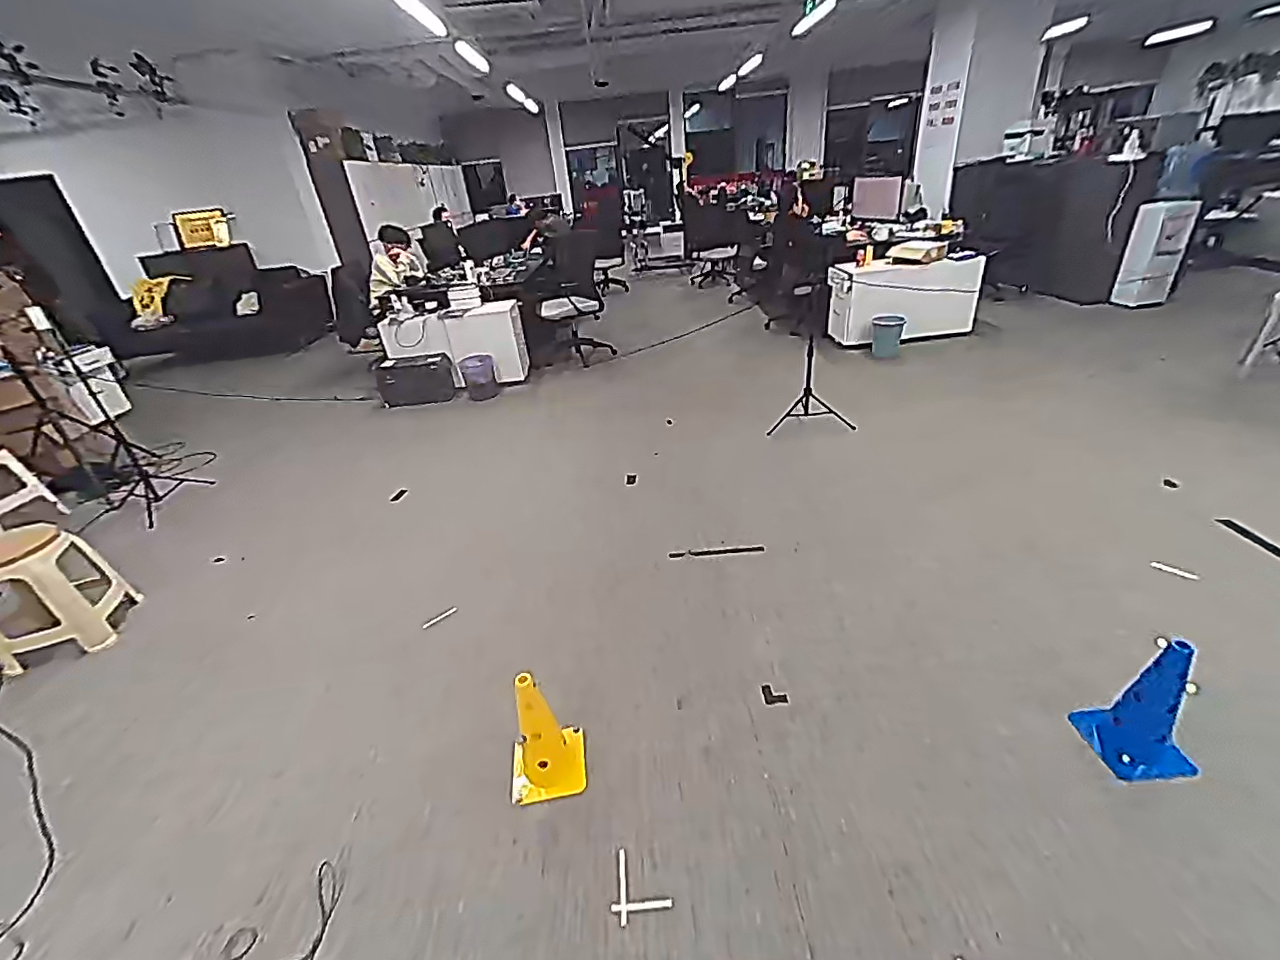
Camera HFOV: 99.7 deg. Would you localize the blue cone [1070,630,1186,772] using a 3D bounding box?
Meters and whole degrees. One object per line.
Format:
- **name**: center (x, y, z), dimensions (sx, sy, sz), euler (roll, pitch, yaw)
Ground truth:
- **blue cone**: center (1.259, 0.530, 1.340), dimensions (0.193, 0.380, 0.192), euler (-6, 28, 2)
